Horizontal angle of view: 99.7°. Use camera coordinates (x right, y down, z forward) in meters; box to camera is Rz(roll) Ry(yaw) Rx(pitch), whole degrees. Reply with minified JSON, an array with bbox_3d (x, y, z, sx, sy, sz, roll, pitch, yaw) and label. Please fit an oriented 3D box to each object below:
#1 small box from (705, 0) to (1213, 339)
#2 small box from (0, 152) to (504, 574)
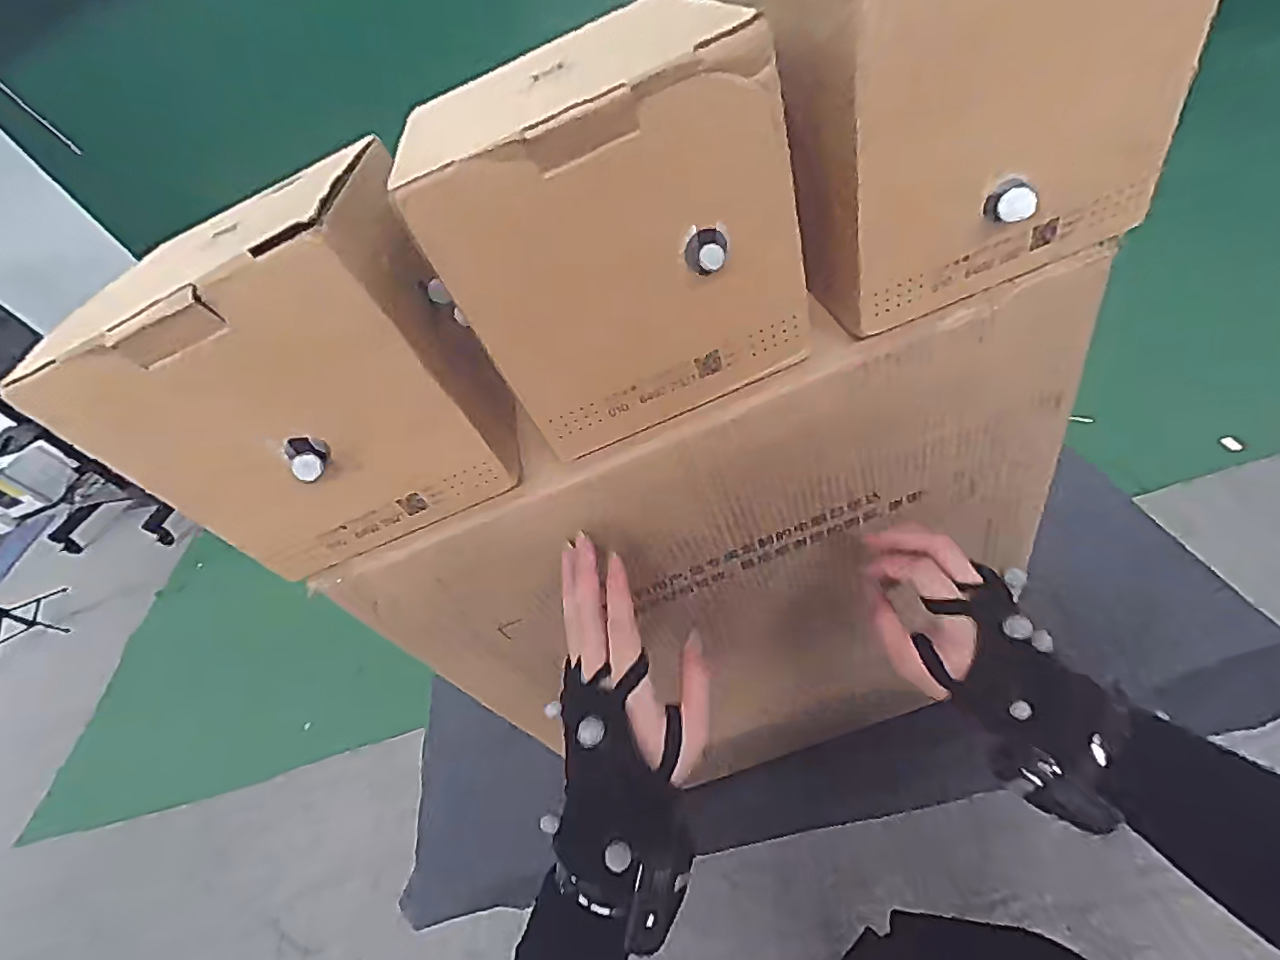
[{"bbox_3d":[0.149,-0.210,0.301,0.168,0.176,0.179,-22,45,5],"label":"small box"},{"bbox_3d":[-0.199,-0.063,0.341,0.168,0.176,0.179,-23,44,6],"label":"small box"}]
